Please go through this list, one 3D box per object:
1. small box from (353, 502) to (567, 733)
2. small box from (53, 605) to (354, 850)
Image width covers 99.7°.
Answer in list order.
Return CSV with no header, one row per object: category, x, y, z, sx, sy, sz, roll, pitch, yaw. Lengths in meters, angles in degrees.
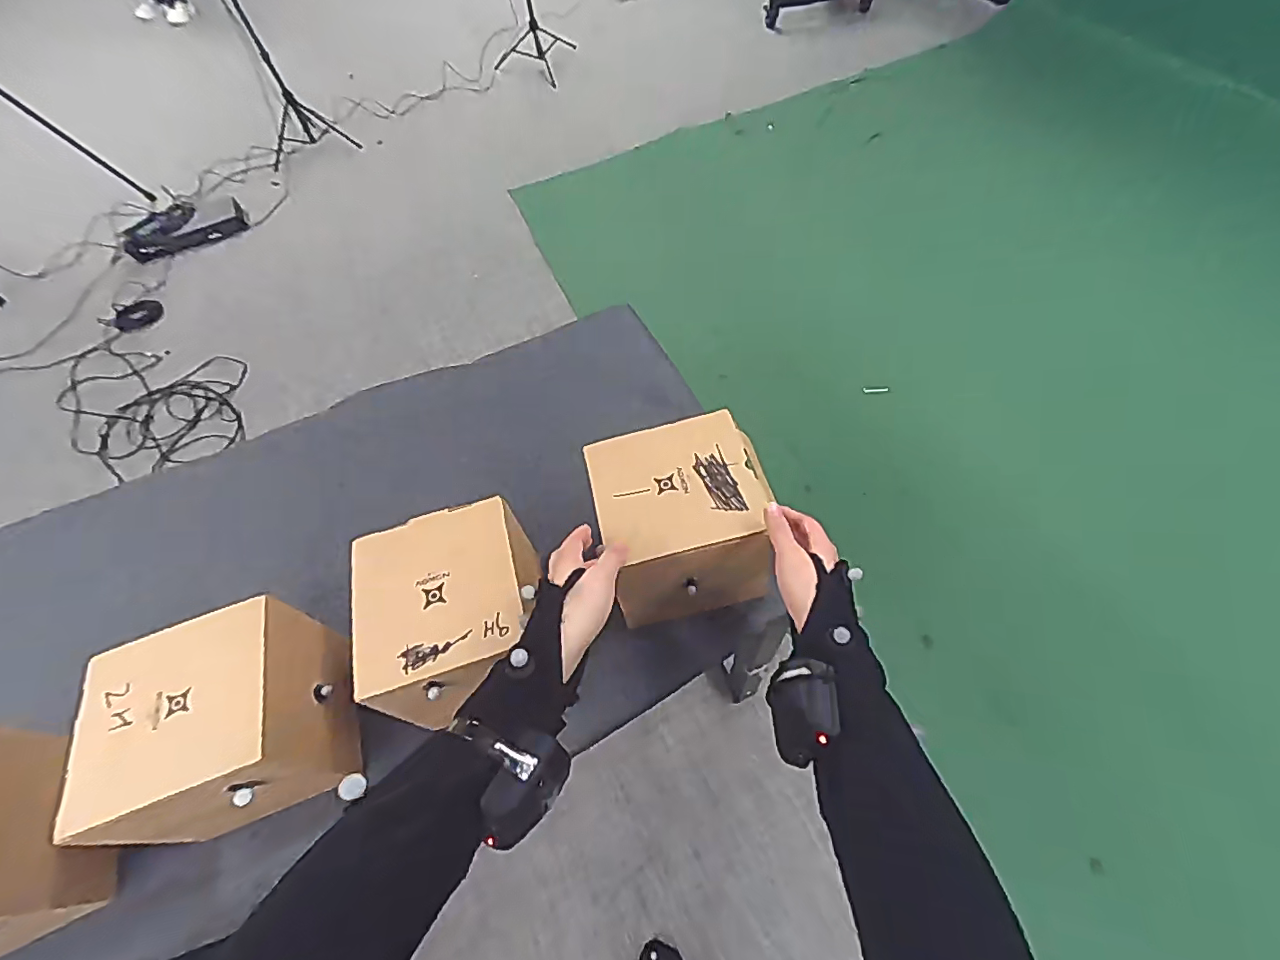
small box,-0.192,0.157,0.603,0.168,0.176,0.179,-18,56,-3
small box,-0.421,0.258,0.564,0.179,0.176,0.168,-20,56,-5
